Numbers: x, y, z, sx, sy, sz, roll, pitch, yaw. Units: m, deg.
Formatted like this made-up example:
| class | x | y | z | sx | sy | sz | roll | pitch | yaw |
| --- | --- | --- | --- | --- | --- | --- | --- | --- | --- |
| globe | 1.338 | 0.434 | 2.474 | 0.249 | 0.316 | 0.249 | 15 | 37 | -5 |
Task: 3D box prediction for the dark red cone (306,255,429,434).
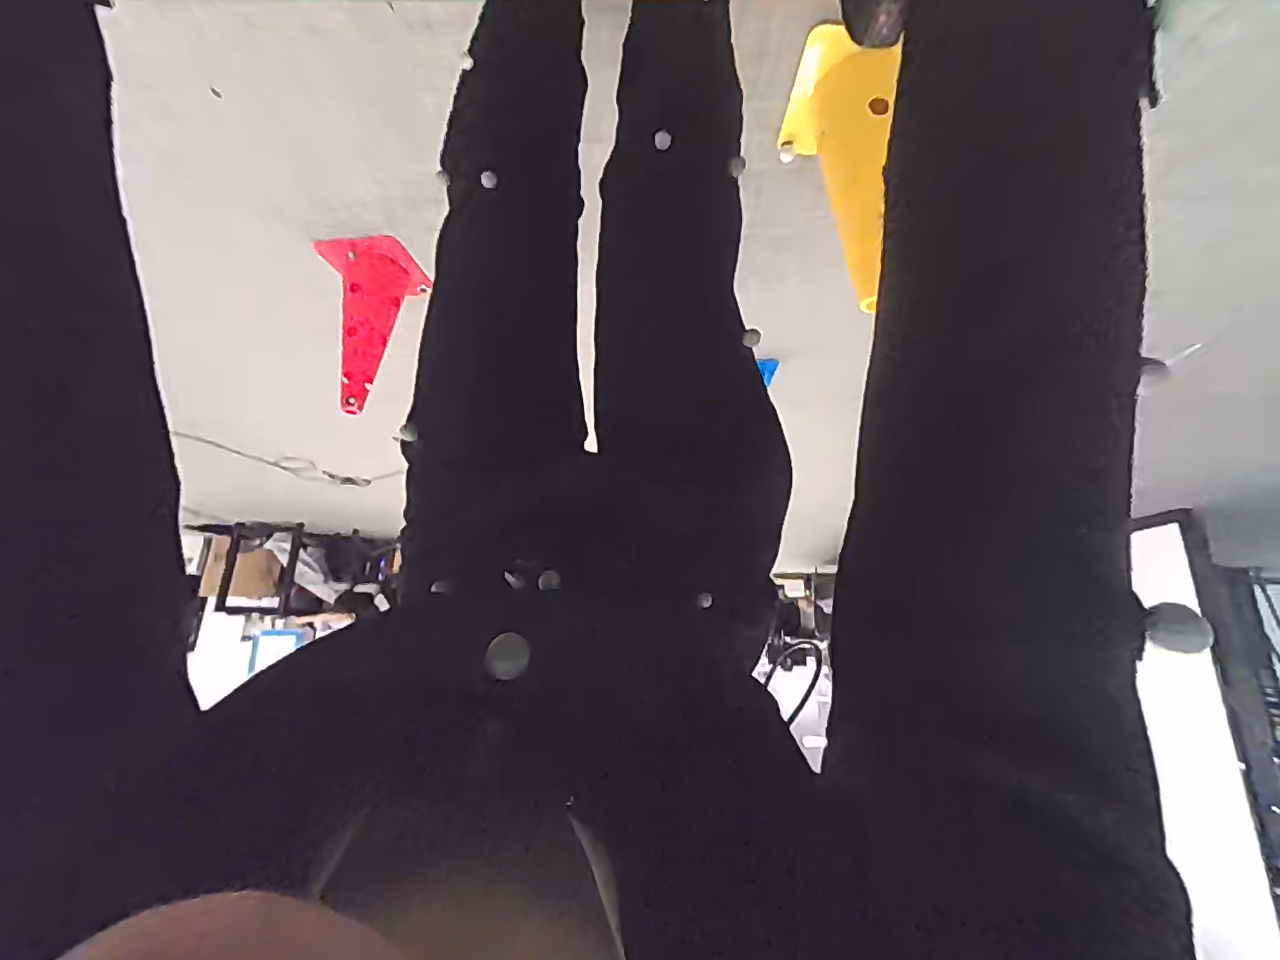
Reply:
| class | x | y | z | sx | sy | sz | roll | pitch | yaw |
| --- | --- | --- | --- | --- | --- | --- | --- | --- | --- |
| dark red cone | -0.616 | -0.282 | 1.167 | 0.202 | 0.394 | 0.201 | 0 | 160 | 10 |
